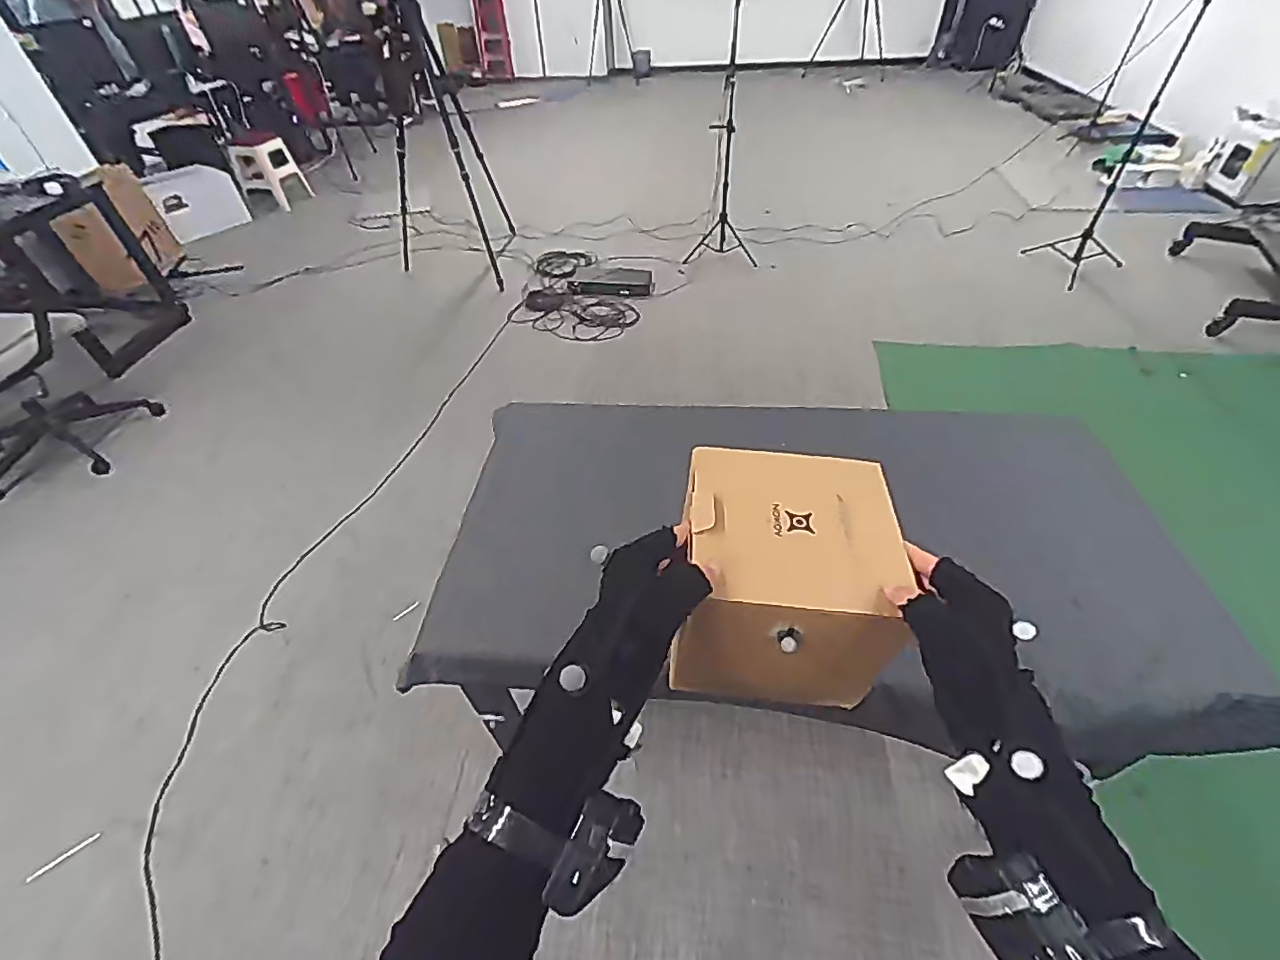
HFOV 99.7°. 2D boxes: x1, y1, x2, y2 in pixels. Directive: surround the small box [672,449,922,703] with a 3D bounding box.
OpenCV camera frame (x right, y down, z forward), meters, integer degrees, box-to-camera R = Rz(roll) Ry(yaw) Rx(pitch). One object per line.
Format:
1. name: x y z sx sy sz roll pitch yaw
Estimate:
1. small box: 0.125 0.093 0.510 0.179 0.176 0.168 6 47 1
